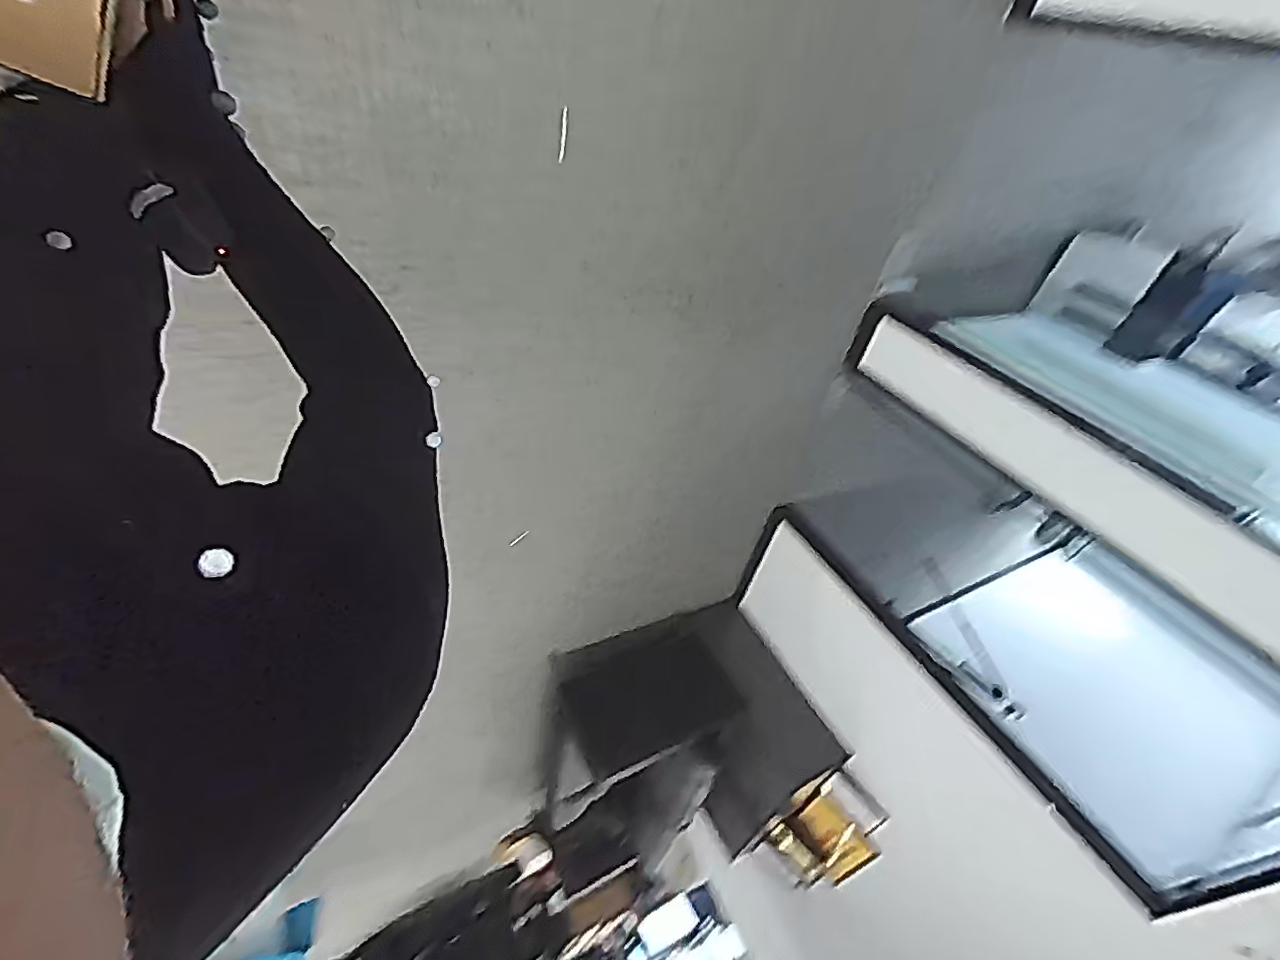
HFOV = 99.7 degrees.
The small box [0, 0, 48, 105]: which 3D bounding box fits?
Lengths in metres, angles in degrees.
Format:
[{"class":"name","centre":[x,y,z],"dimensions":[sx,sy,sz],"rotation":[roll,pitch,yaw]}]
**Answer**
[{"class":"small box","centre":[-0.298,-0.267,0.160],"dimensions":[0.179,0.176,0.168],"rotation":[7,127,-47]}]
